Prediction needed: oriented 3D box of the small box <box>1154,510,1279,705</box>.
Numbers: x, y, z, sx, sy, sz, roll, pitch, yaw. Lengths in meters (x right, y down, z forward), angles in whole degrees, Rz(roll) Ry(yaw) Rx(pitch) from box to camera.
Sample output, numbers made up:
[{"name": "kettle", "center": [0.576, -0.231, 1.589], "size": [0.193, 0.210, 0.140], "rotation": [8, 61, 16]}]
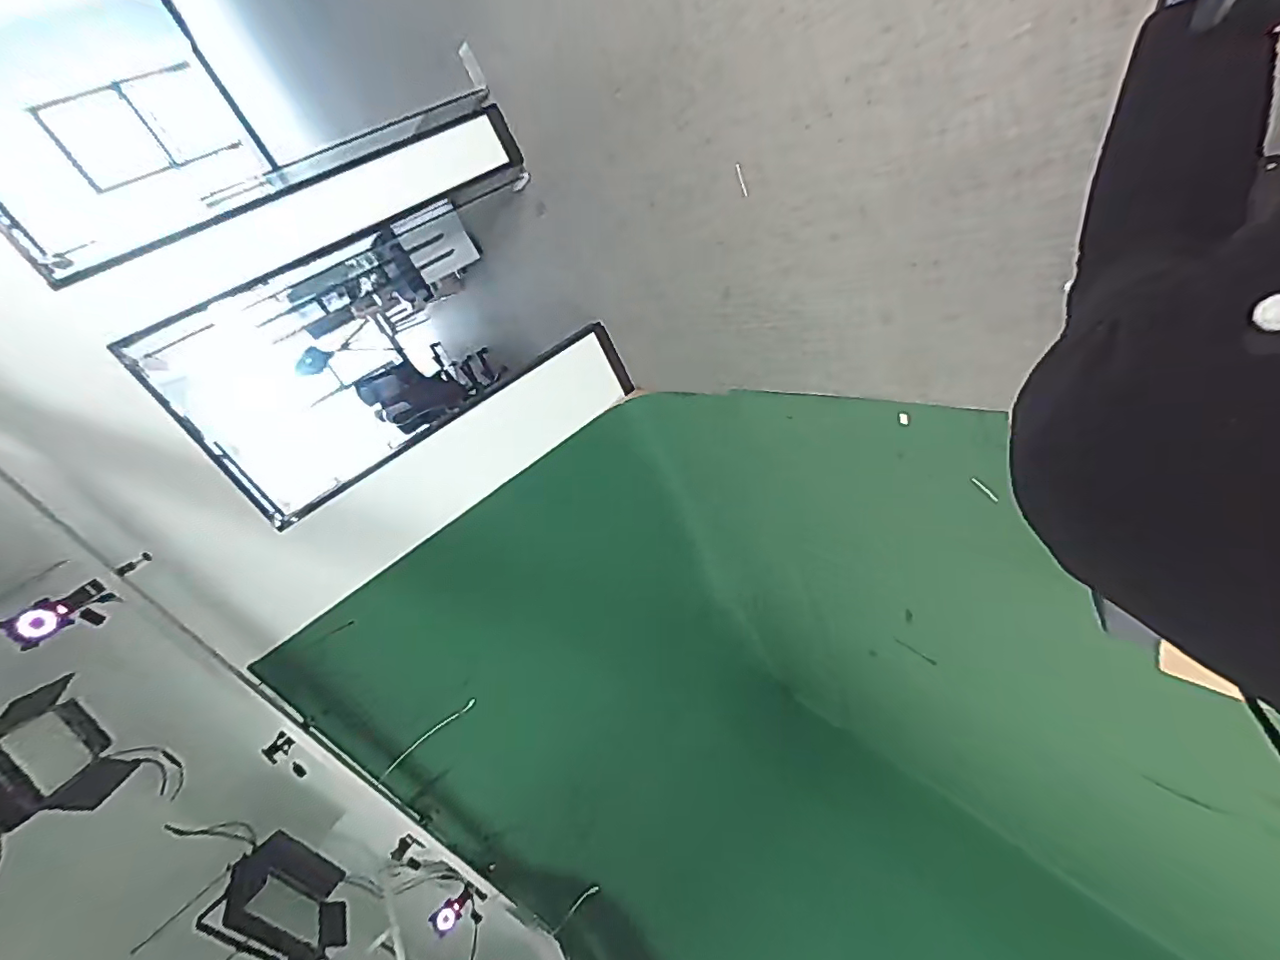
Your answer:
[{"name": "small box", "center": [0.817, 0.164, 0.710], "size": [0.168, 0.176, 0.179], "rotation": [19, 143, 54]}]
